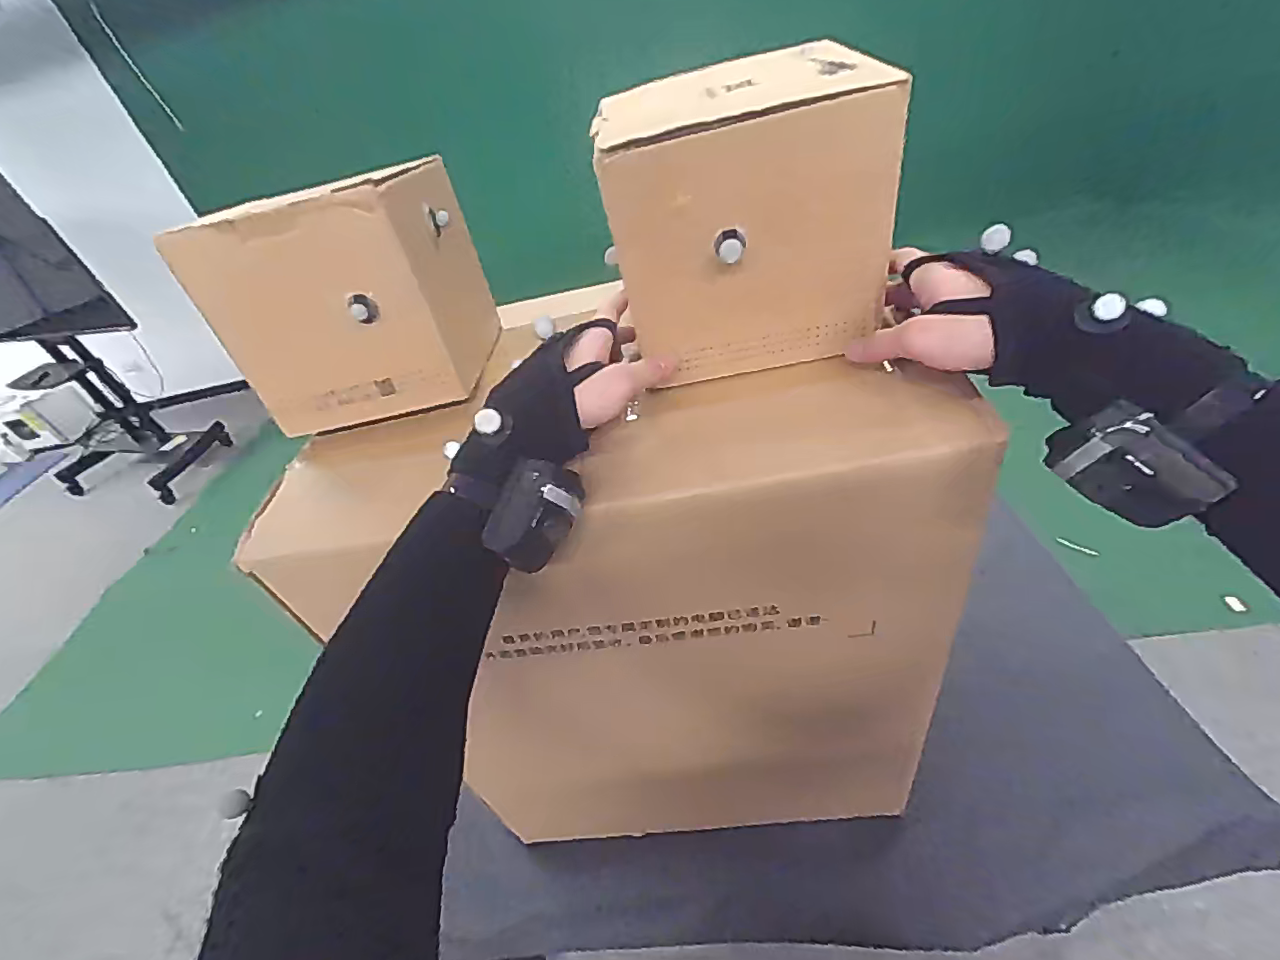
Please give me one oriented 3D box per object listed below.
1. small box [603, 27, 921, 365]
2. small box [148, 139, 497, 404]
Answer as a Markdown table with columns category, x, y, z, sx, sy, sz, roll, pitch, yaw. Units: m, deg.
| category | x | y | z | sx | sy | sz | roll | pitch | yaw |
| --- | --- | --- | --- | --- | --- | --- | --- | --- | --- |
| small box | 0.078 | -0.204 | 0.402 | 0.179 | 0.176 | 0.168 | -10 | 43 | 6 |
| small box | -0.236 | -0.175 | 0.464 | 0.168 | 0.176 | 0.179 | -10 | 33 | 3 |
